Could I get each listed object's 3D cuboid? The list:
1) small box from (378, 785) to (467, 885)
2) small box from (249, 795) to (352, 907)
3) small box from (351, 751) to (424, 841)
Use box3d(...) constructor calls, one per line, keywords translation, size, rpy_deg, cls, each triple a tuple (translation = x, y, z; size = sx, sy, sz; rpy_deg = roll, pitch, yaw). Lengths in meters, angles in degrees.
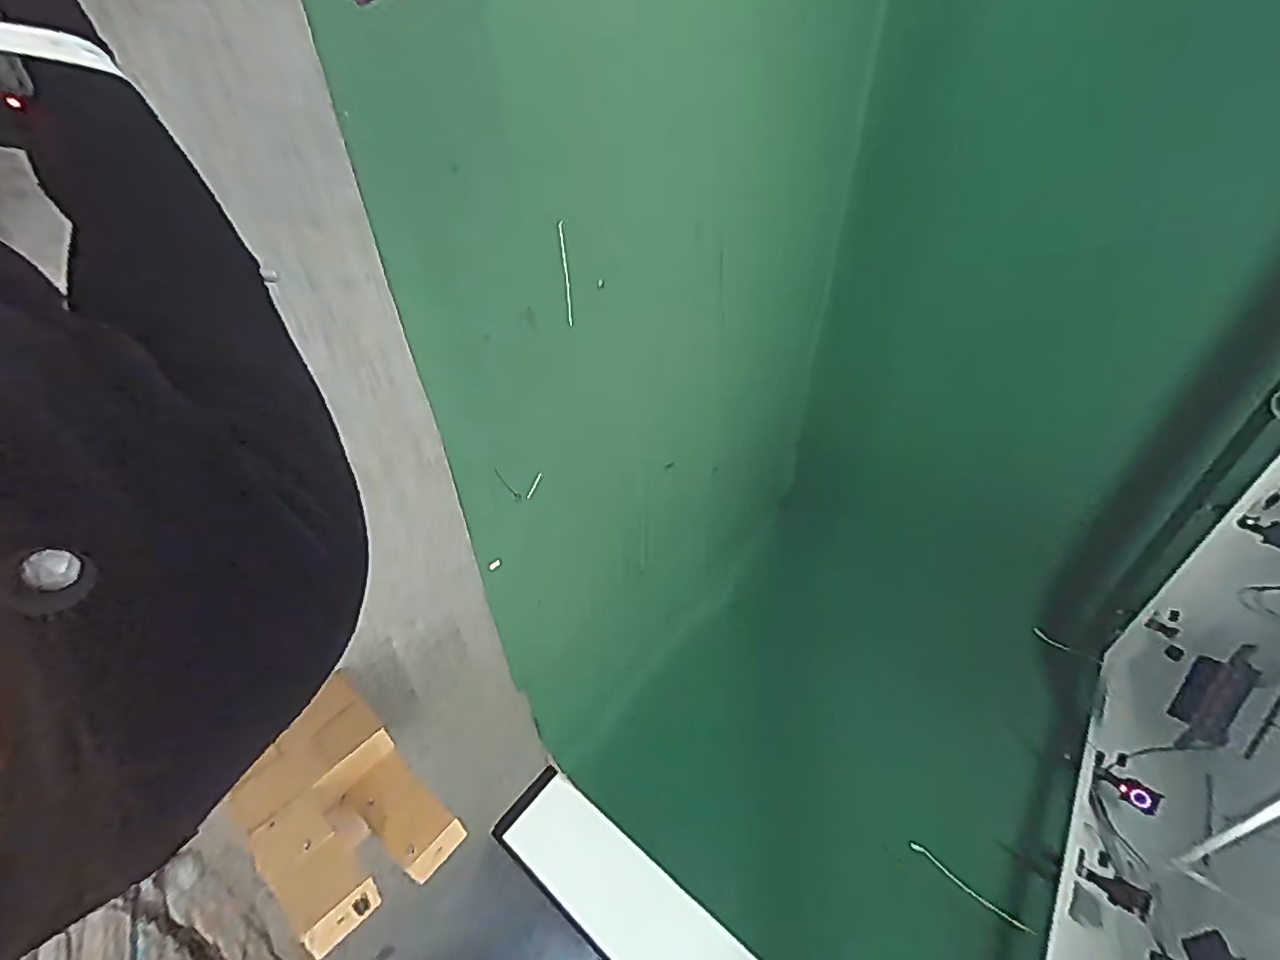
box3d(translation=(-0.671, 1.090, 1.672), size=(0.179, 0.176, 0.168), rpy_deg=(-39, 144, -35), cls="small box")
box3d(translation=(-0.950, 1.033, 1.516), size=(0.168, 0.176, 0.179), rpy_deg=(-35, 140, -38), cls="small box")
box3d(translation=(-0.801, 1.025, 1.746), size=(0.179, 0.176, 0.168), rpy_deg=(-41, 145, -34), cls="small box")
